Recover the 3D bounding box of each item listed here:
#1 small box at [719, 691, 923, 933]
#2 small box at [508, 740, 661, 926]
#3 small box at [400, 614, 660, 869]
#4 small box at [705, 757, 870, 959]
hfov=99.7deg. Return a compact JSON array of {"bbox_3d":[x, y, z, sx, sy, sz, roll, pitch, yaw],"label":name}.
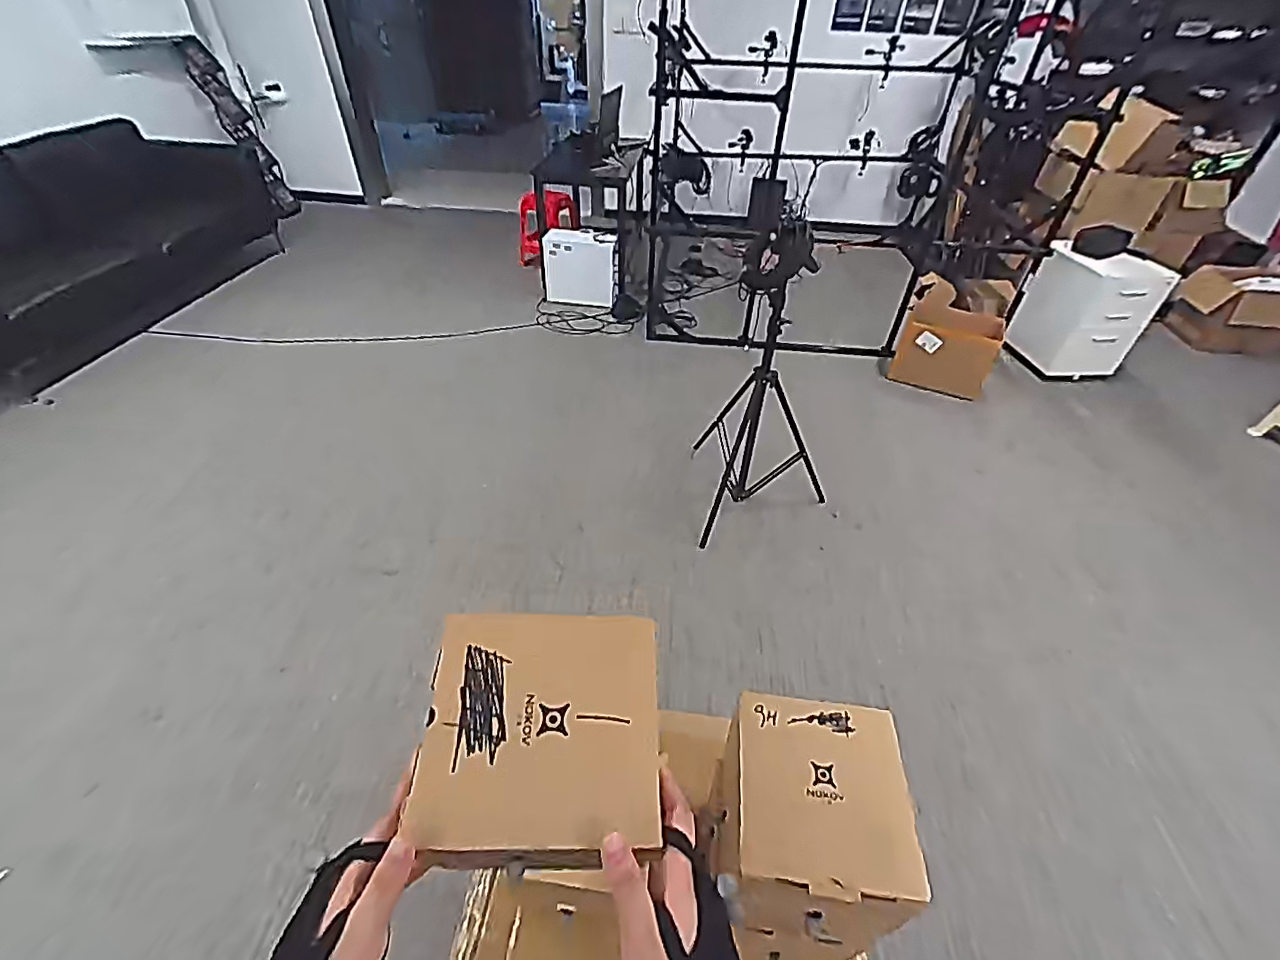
[{"bbox_3d":[0.178,0.361,0.589,0.168,0.176,0.179,5,42,6],"label":"small box"},{"bbox_3d":[-0.064,0.458,0.720,0.168,0.176,0.179,5,42,4],"label":"small box"},{"bbox_3d":[-0.078,0.230,0.470,0.179,0.176,0.168,2,50,-4],"label":"small box"},{"bbox_3d":[0.172,0.488,0.693,0.168,0.176,0.179,4,41,5],"label":"small box"}]
